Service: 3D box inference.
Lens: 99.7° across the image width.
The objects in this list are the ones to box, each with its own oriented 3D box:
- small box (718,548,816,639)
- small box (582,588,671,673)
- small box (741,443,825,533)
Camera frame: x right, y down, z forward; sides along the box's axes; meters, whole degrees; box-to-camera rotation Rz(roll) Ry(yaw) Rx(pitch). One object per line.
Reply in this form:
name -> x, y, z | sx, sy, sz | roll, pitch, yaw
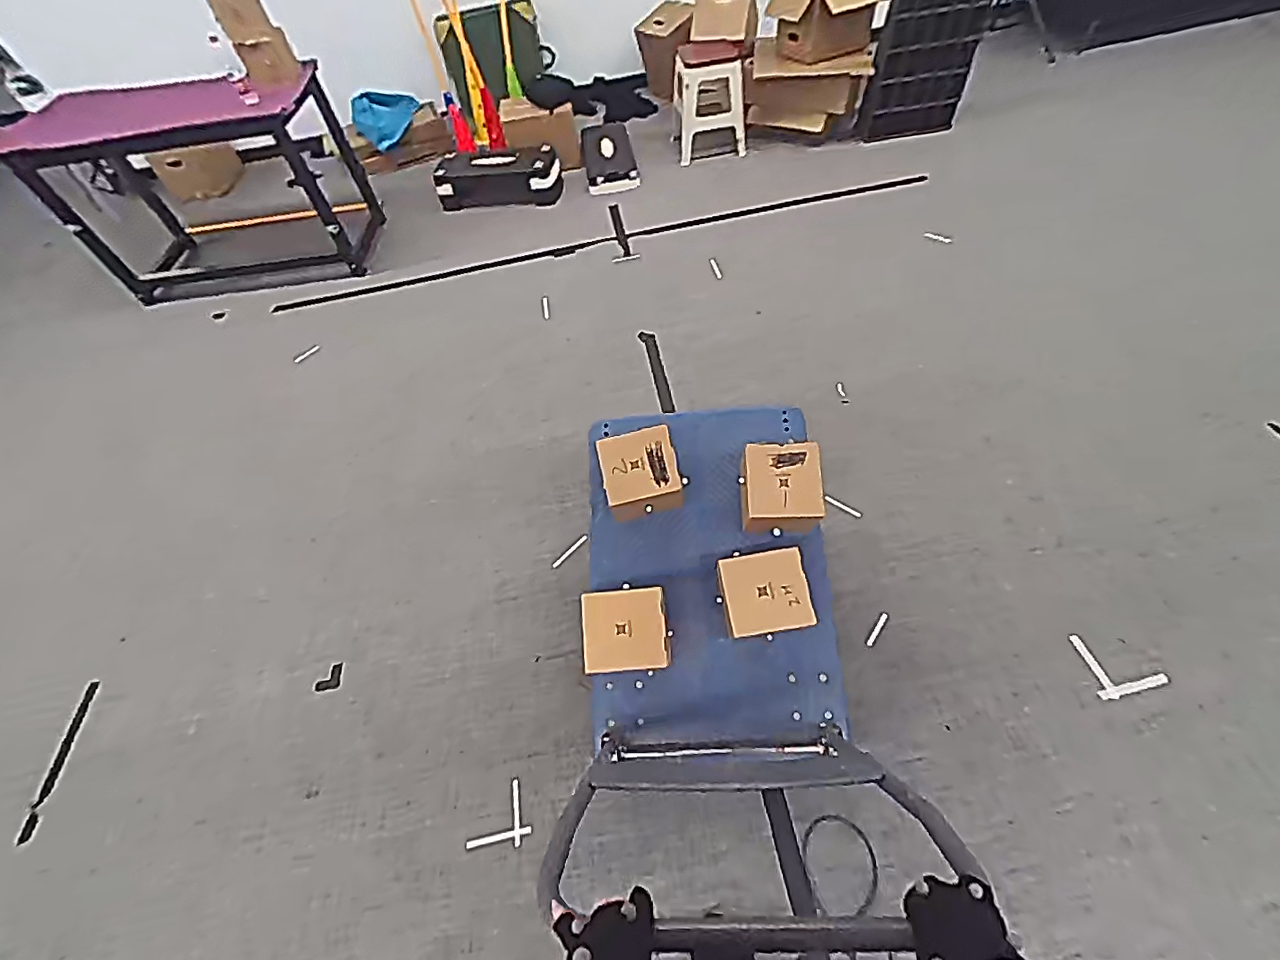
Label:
small box -> 0.275, 0.260, 1.212 | 0.179, 0.176, 0.168 | -10, 72, 3
small box -> -0.026, 0.342, 1.218 | 0.179, 0.176, 0.168 | -6, 72, 2
small box -> 0.330, 0.023, 1.279 | 0.168, 0.176, 0.179 | -2, 73, 6
